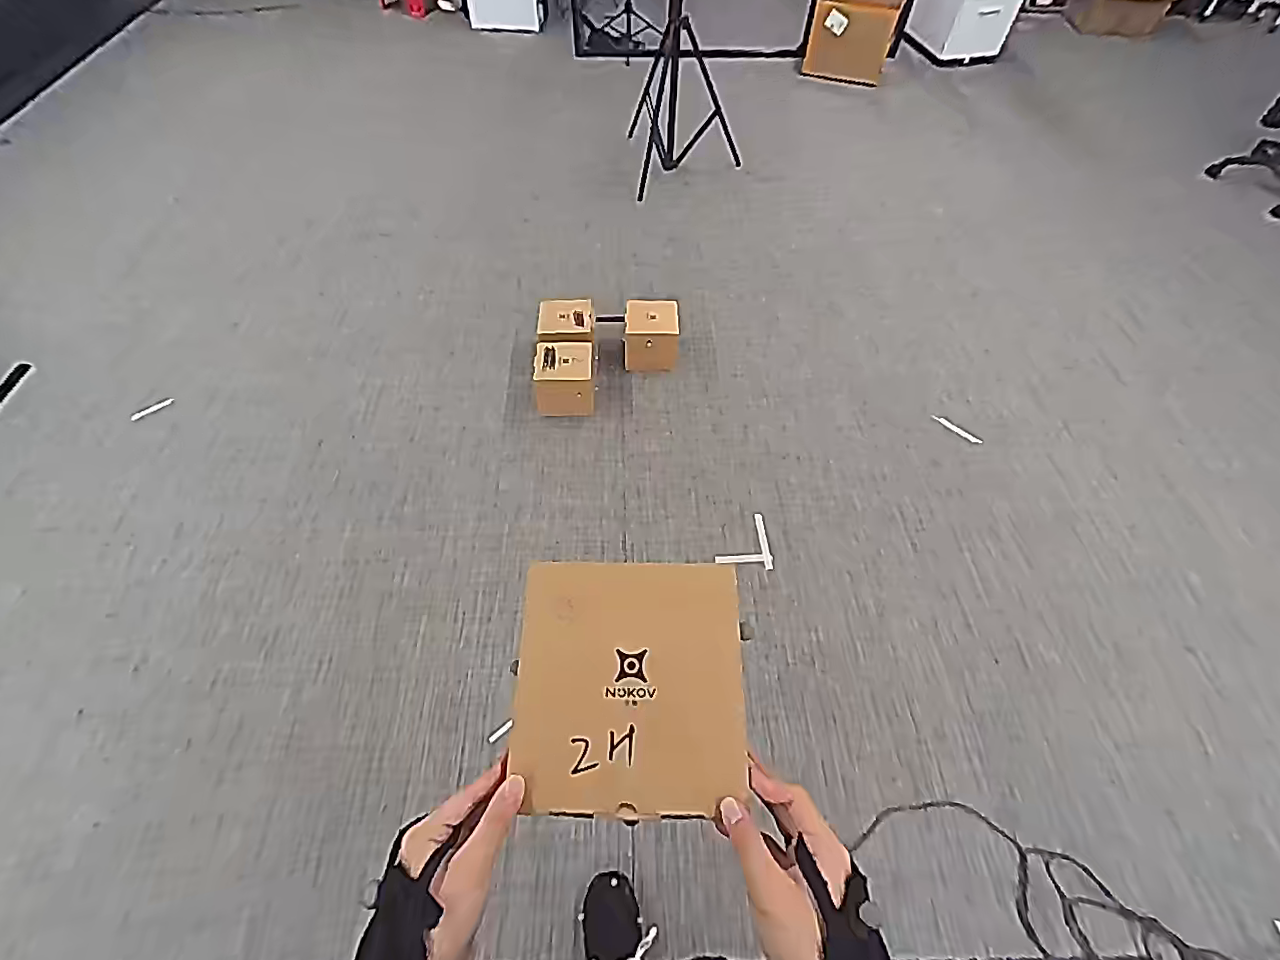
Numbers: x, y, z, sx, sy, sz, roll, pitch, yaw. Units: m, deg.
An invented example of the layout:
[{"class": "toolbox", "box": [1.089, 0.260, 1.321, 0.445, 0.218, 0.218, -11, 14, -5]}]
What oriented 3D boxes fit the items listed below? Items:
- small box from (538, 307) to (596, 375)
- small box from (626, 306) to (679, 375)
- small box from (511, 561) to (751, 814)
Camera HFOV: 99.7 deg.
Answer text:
[{"class": "small box", "box": [-0.245, -0.475, 1.859, 0.179, 0.176, 0.168, -1, 57, -1]}, {"class": "small box", "box": [0.040, -0.478, 1.865, 0.179, 0.176, 0.168, 0, 56, 0]}, {"class": "small box", "box": [-0.003, 0.181, 0.472, 0.168, 0.176, 0.179, 0, 63, 2]}]
